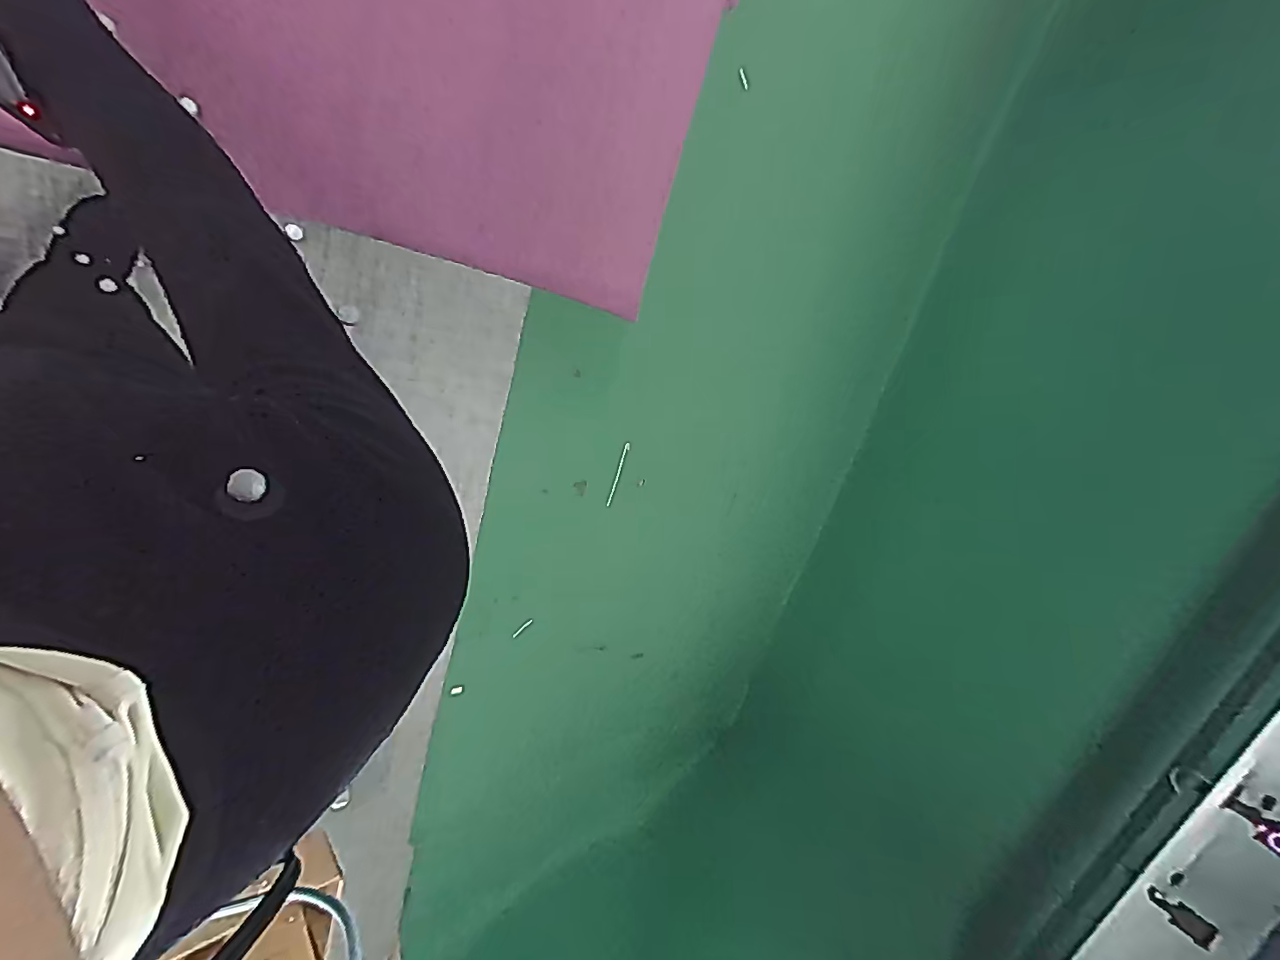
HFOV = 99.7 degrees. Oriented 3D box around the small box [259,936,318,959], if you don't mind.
[{"bbox_3d":[-0.939,1.364,1.414,0.168,0.176,0.179,-1,115,-47],"label":"small box"}]
